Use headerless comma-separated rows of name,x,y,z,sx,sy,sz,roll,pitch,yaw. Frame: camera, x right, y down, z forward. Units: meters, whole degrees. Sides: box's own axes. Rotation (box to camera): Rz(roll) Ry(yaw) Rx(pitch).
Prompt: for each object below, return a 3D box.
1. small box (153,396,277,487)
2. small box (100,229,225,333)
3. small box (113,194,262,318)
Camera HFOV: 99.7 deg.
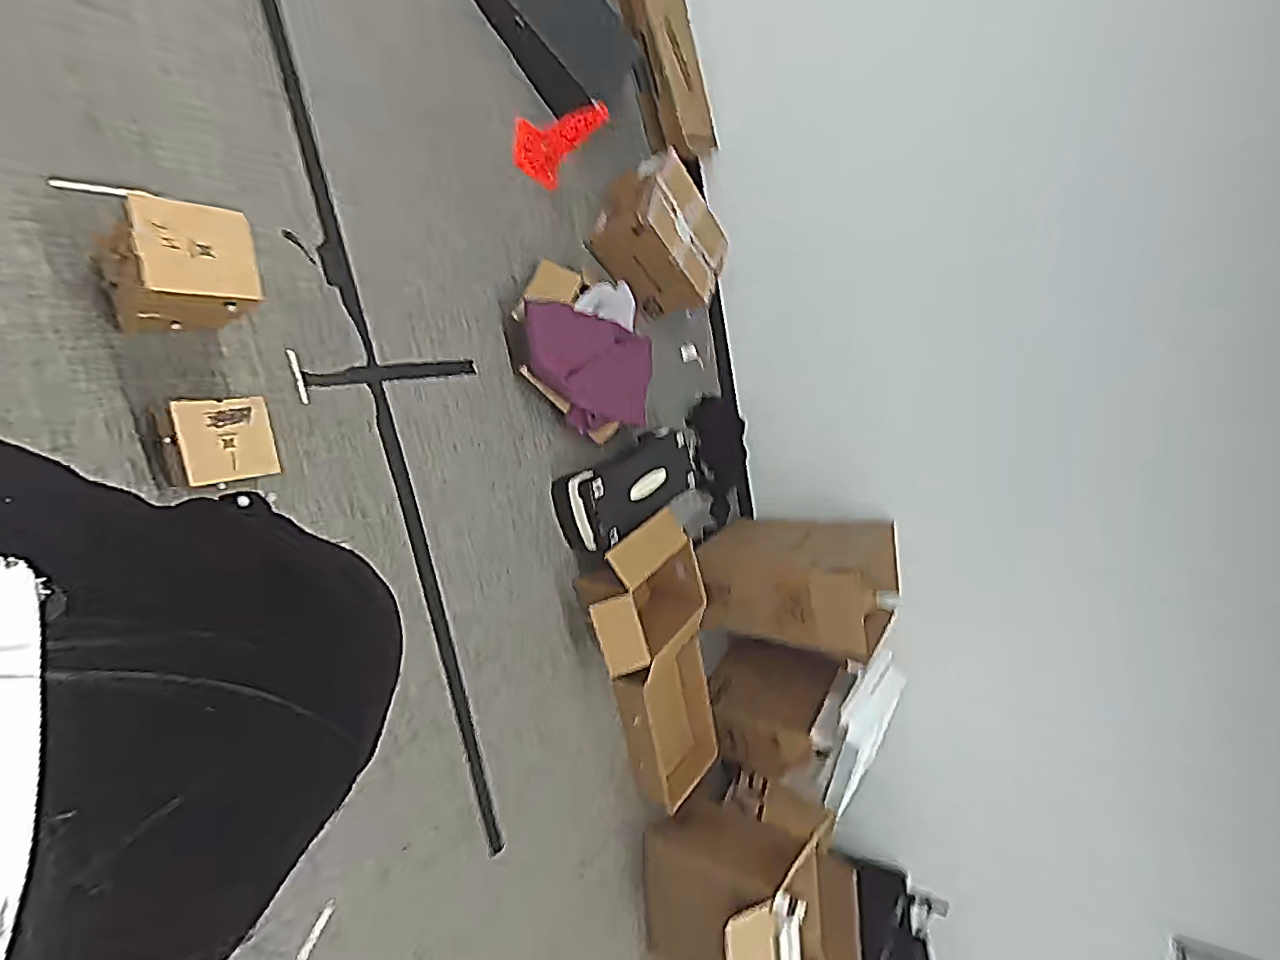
small box,-0.937,-0.083,1.191,0.168,0.176,0.179,-16,101,-49
small box,-0.994,-0.409,1.136,0.179,0.176,0.168,-21,104,-48
small box,-0.864,-0.414,1.034,0.179,0.176,0.168,-13,98,-50
